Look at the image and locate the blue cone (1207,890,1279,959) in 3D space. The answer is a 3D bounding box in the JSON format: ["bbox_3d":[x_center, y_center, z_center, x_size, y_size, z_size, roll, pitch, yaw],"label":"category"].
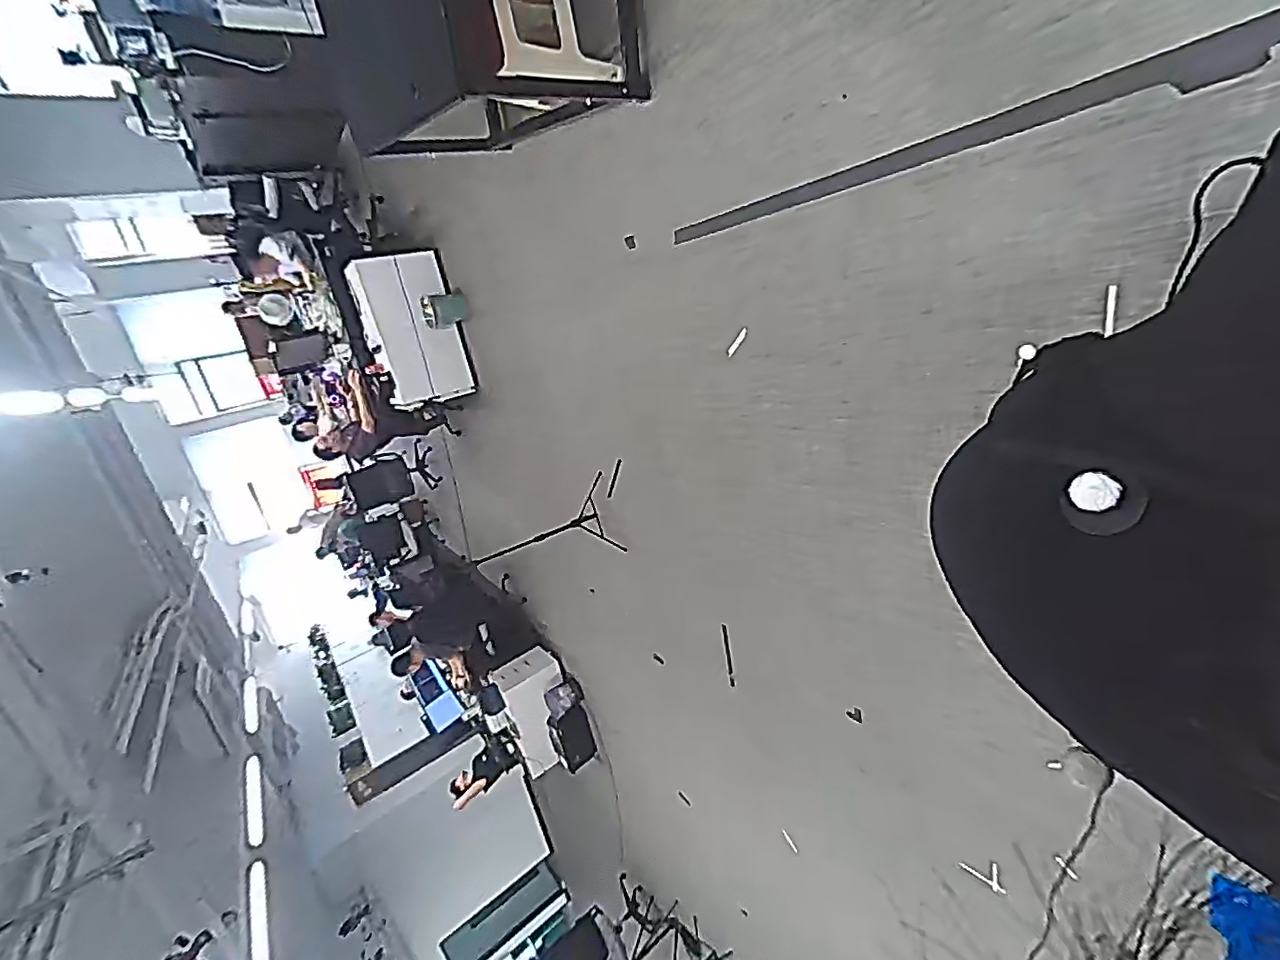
[{"bbox_3d":[1.387,1.178,1.223,0.192,0.380,0.193,5,115,54],"label":"blue cone"}]
